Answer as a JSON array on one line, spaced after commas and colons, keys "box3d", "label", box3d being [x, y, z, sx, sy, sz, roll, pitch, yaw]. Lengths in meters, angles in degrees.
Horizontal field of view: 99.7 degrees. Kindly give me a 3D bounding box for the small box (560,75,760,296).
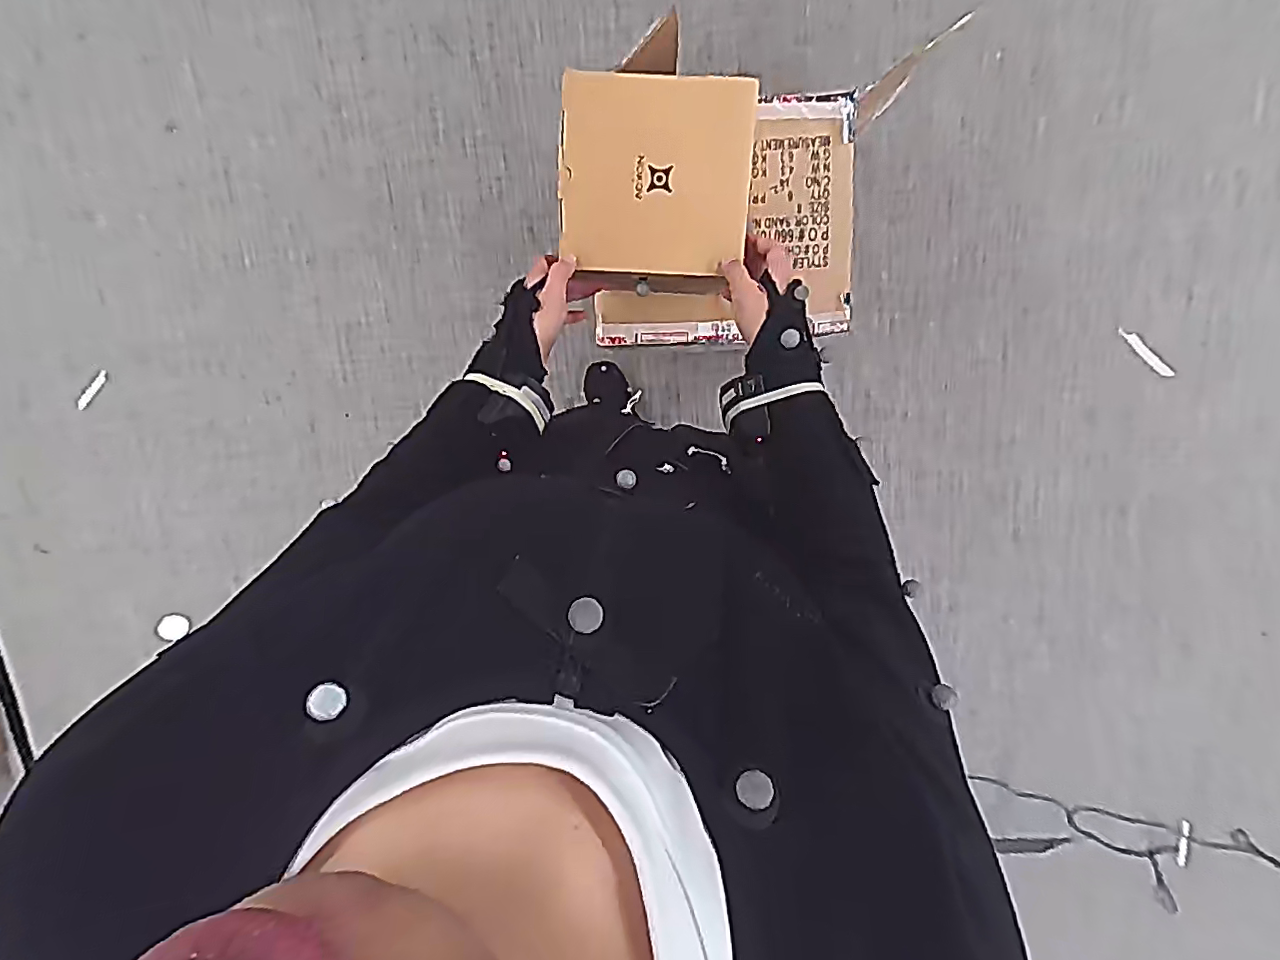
[{"box3d": [0.019, -0.292, 0.572, 0.179, 0.176, 0.168, 4, 103, 3], "label": "small box"}]
